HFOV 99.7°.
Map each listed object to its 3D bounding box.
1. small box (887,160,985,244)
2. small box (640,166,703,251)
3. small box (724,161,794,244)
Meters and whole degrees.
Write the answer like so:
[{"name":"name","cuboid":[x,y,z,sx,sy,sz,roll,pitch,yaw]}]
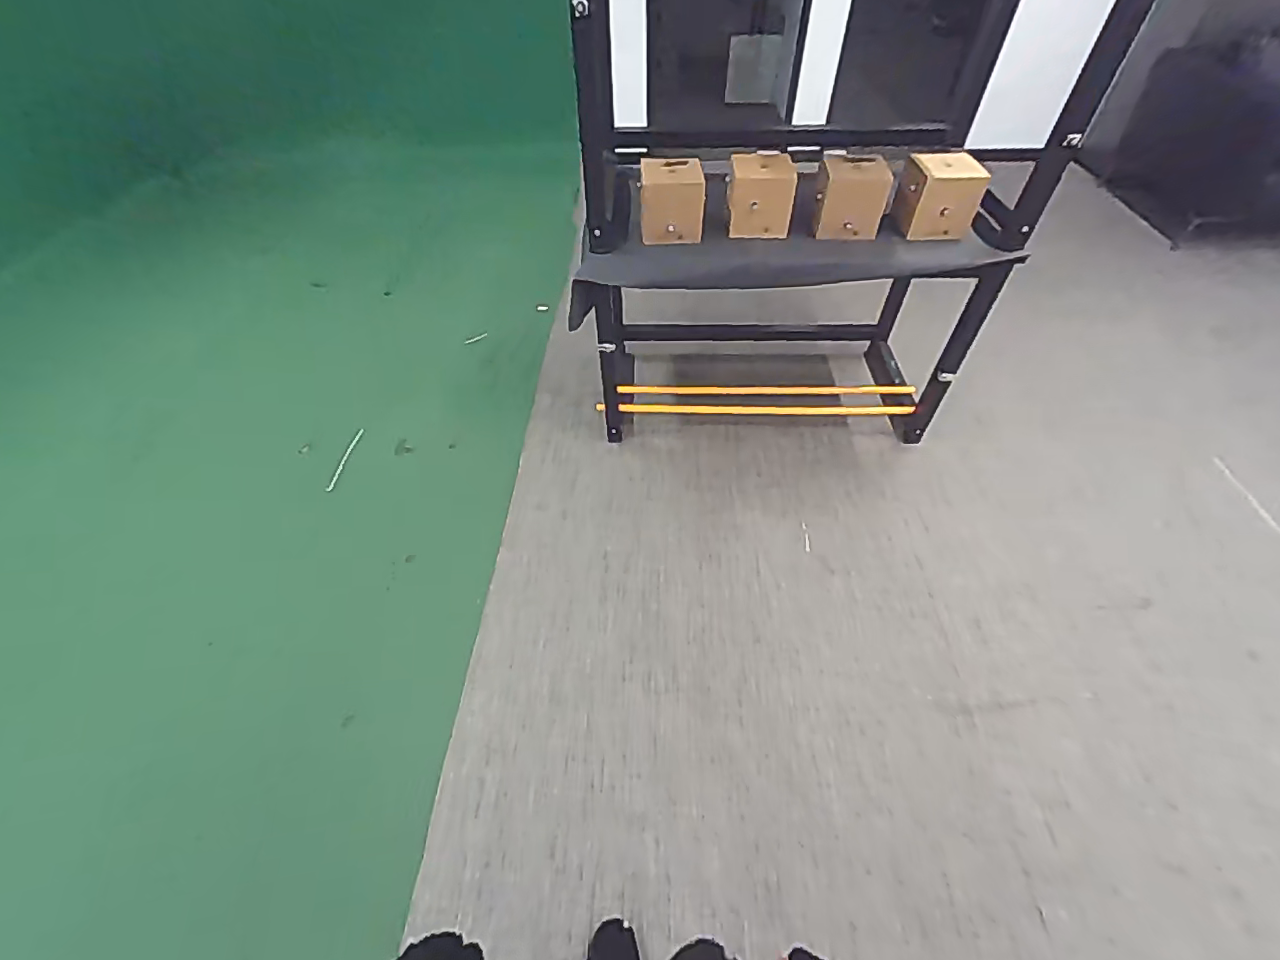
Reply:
[{"name":"small box","cuboid":[0.828,-0.784,1.532,0.168,0.176,0.179,0,48,1]},{"name":"small box","cuboid":[0.083,-0.773,1.539,0.168,0.176,0.179,-3,50,-1]},{"name":"small box","cuboid":[0.335,-0.797,1.558,0.168,0.176,0.179,1,49,1]}]
